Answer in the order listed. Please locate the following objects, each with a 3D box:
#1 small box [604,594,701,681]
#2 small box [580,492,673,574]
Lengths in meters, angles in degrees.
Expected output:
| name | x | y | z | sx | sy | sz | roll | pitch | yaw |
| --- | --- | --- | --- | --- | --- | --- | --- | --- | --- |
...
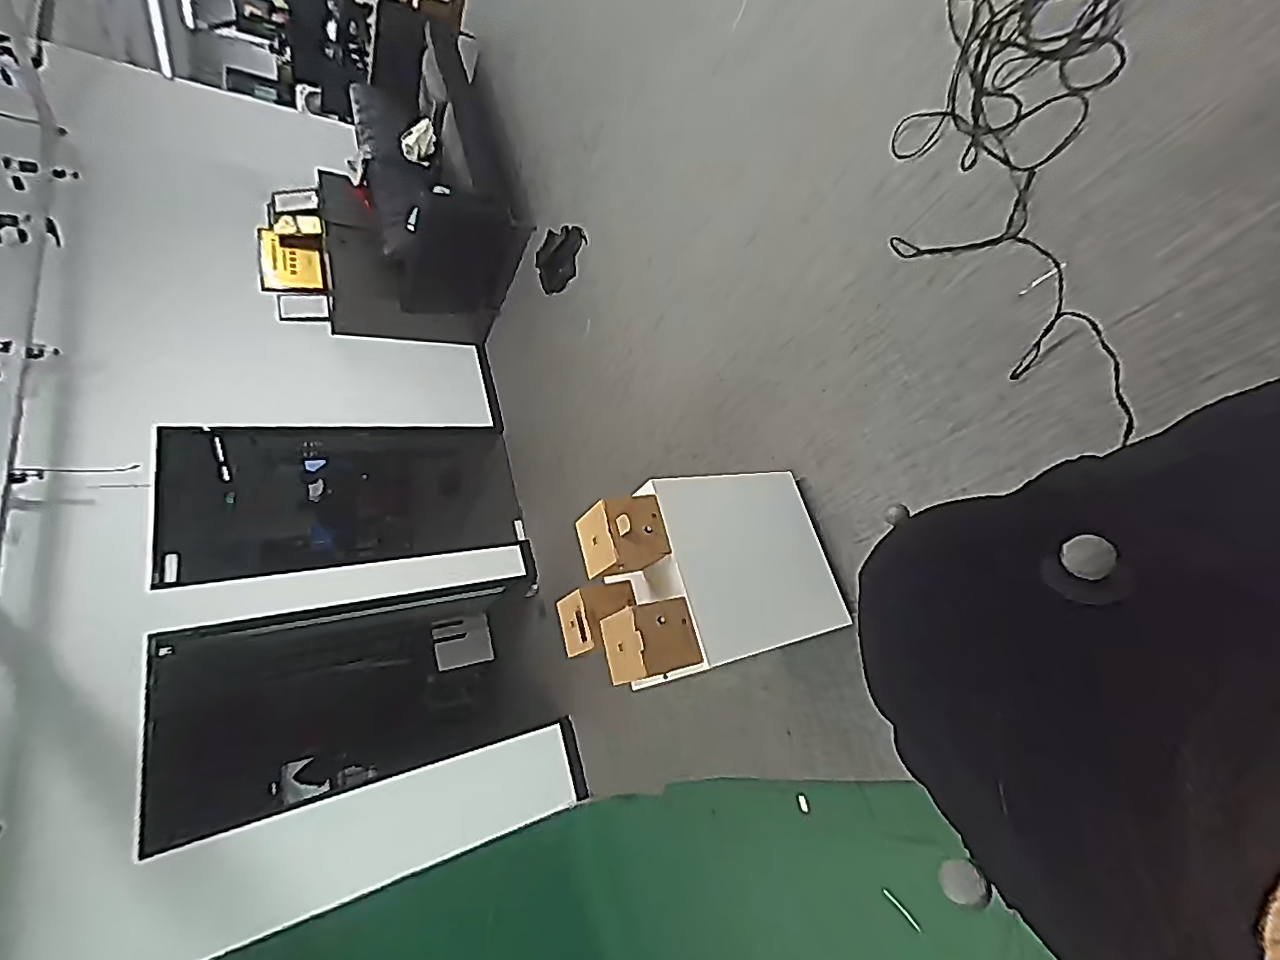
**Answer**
| name | x | y | z | sx | sy | sz | roll | pitch | yaw |
| --- | --- | --- | --- | --- | --- | --- | --- | --- | --- |
| small box | 0.035 | 0.392 | 1.350 | 0.179 | 0.176 | 0.168 | -43 | 56 | 53 |
| small box | -0.038 | 0.140 | 1.438 | 0.179 | 0.176 | 0.168 | -42 | 59 | 51 |
